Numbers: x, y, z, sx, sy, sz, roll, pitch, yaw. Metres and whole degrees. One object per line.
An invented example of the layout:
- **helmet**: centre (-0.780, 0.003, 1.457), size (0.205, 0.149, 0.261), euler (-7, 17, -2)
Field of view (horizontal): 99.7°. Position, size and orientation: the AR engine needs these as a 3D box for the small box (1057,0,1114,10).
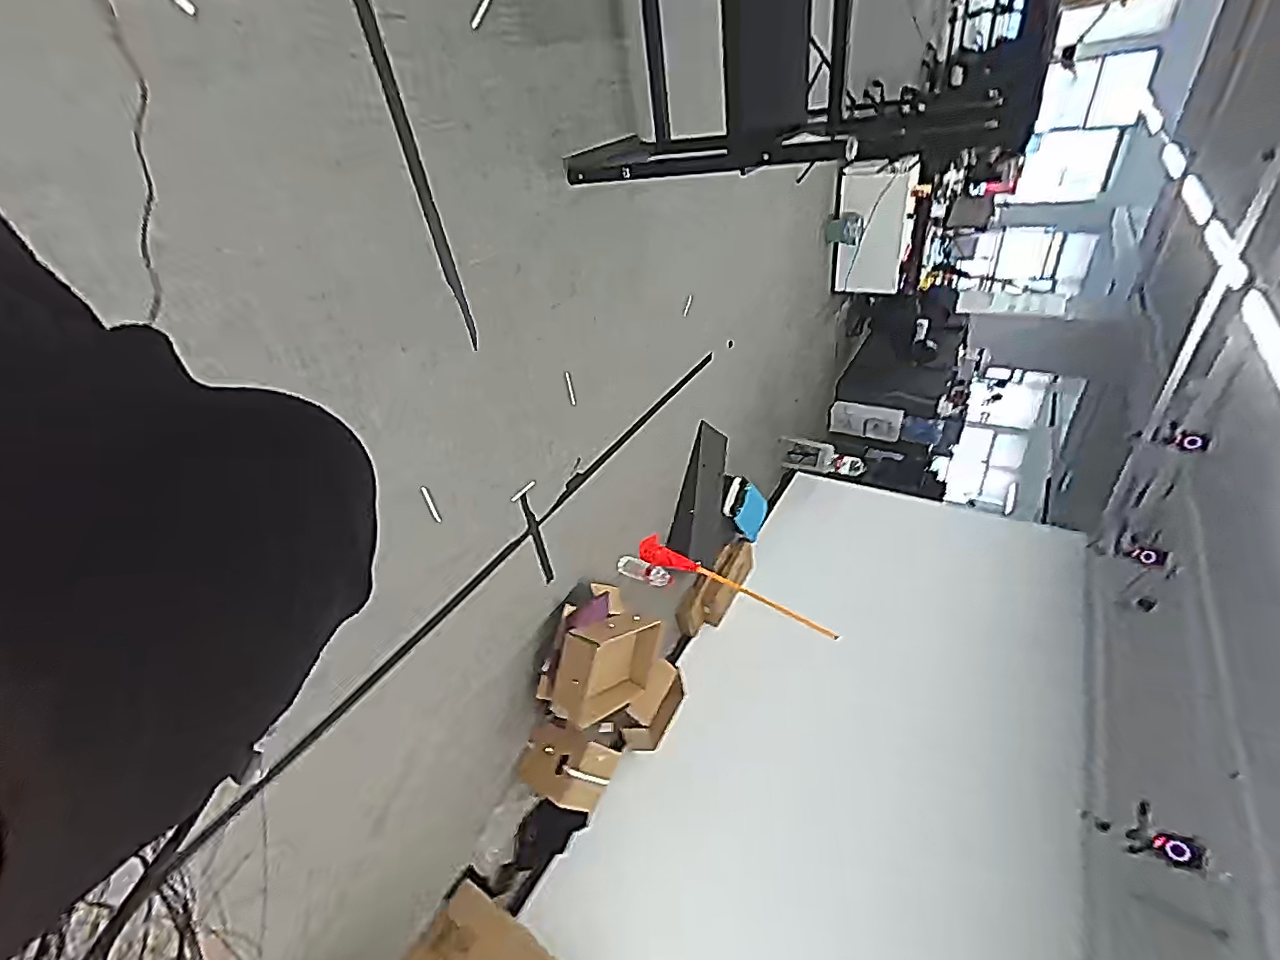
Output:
- **small box**: centre (1.035, -1.154, 1.179), size (0.179, 0.176, 0.168), euler (-45, 138, -44)
